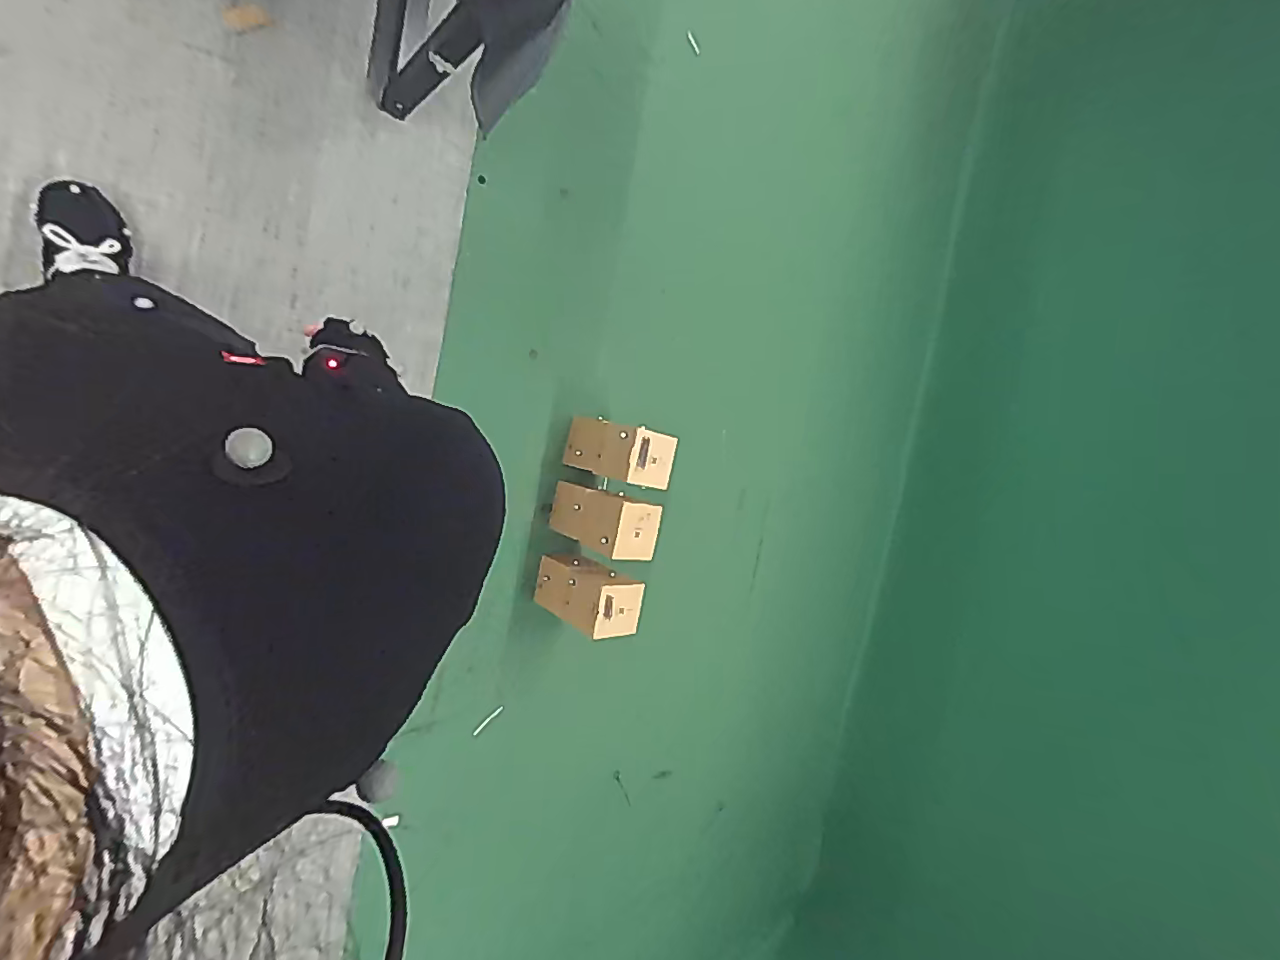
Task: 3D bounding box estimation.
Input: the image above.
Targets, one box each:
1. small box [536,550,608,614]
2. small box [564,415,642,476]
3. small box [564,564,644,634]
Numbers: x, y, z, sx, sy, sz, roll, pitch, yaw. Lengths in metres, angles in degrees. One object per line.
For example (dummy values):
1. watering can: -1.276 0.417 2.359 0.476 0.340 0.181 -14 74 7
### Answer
1. small box: -0.223 0.338 1.816 0.179 0.176 0.168 8 95 -42
2. small box: -0.126 -0.117 1.796 0.179 0.176 0.168 14 91 -43
3. small box: -0.116 0.367 1.695 0.179 0.176 0.168 7 96 -43
